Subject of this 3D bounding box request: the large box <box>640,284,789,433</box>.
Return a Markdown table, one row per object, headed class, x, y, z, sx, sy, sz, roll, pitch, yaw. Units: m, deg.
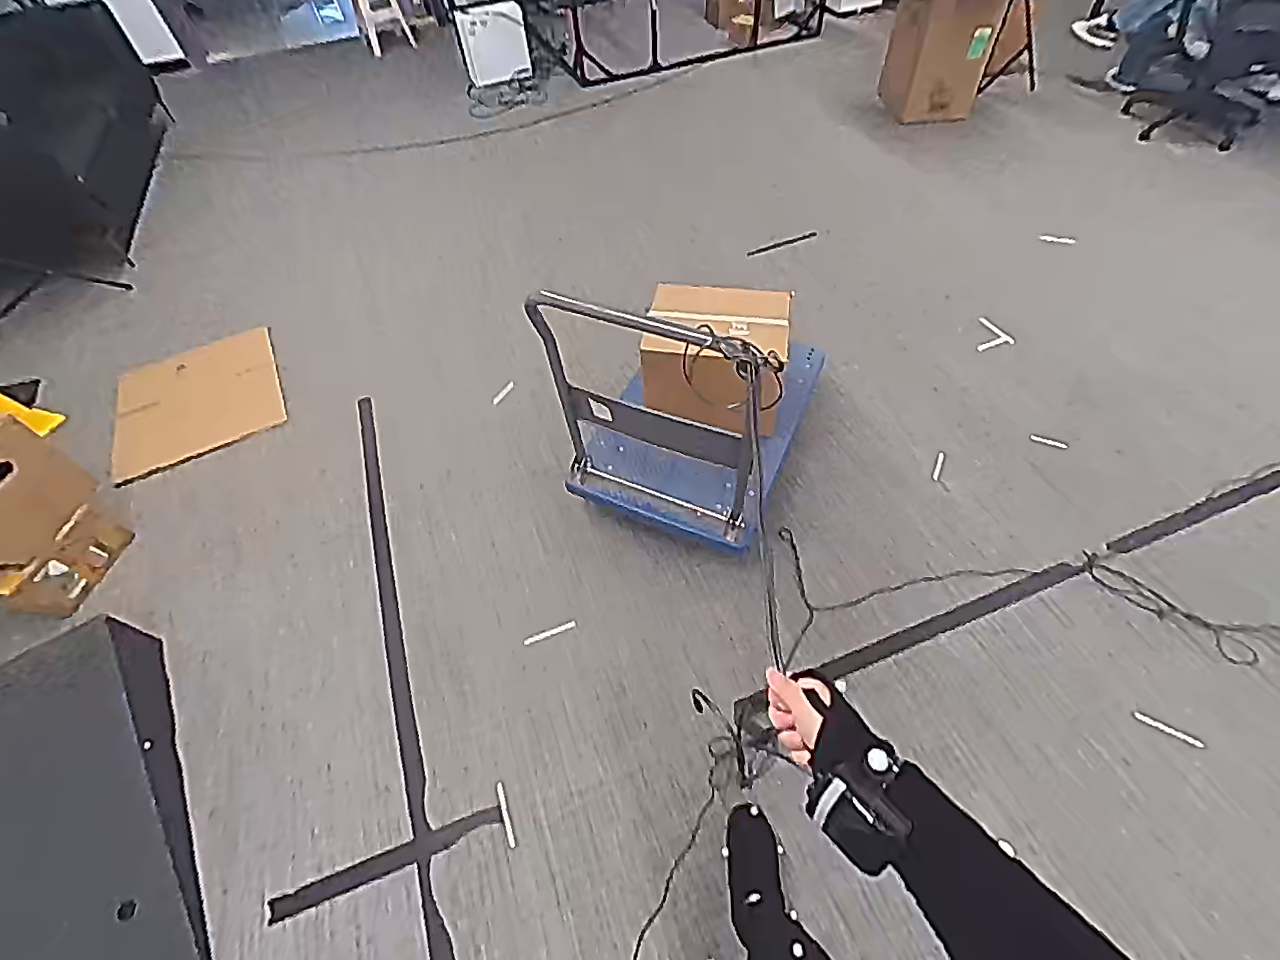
| class | x | y | z | sx | sy | sz | roll | pitch | yaw |
| --- | --- | --- | --- | --- | --- | --- | --- | --- | --- |
| large box | 0.226 | -0.369 | 1.662 | 0.408 | 0.320 | 0.320 | 8 | 56 | 9 |
